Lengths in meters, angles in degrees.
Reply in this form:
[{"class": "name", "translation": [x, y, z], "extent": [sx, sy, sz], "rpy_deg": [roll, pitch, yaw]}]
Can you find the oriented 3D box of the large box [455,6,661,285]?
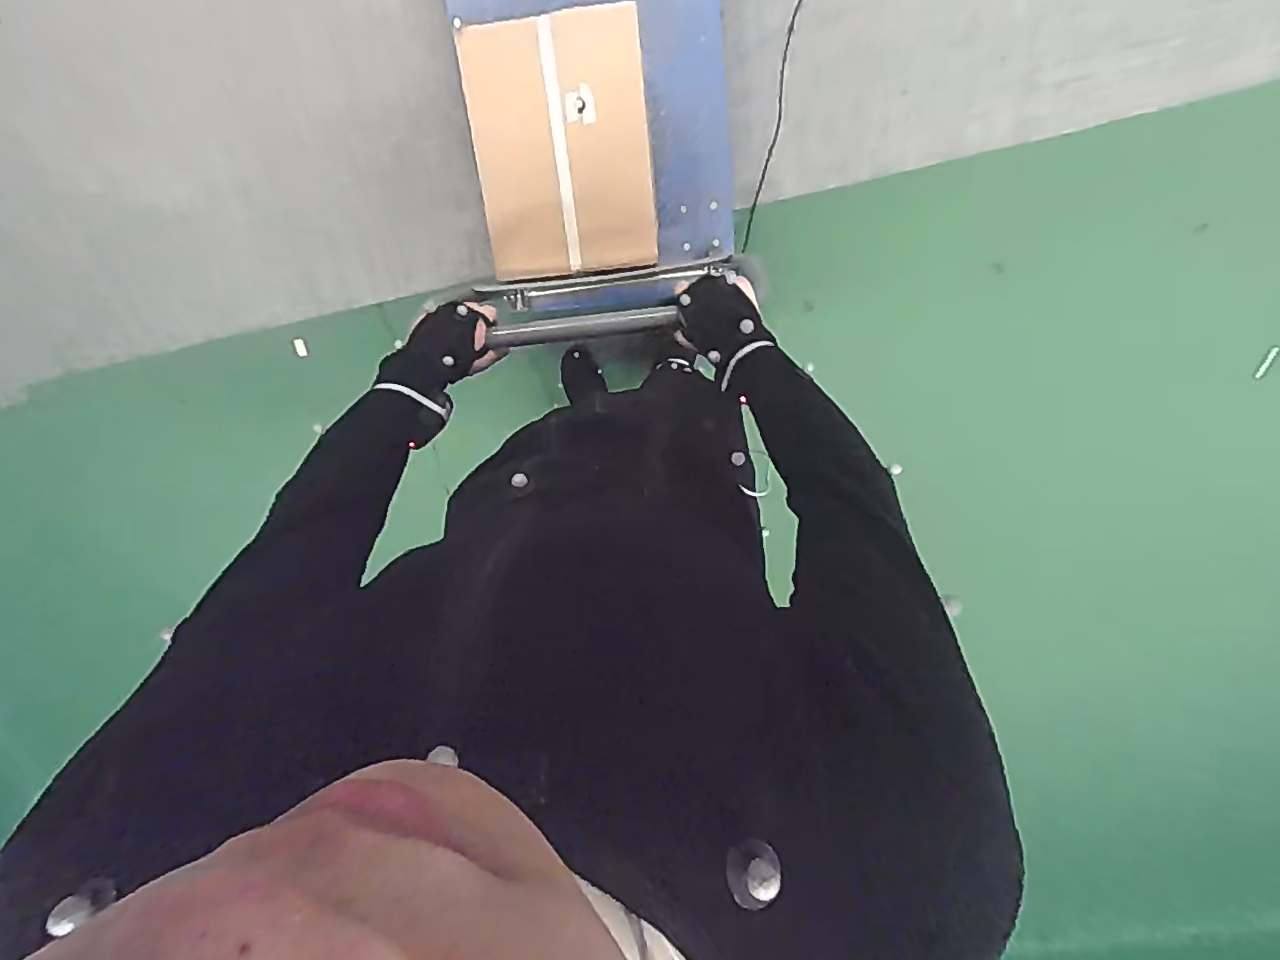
[{"class": "large box", "translation": [-0.132, -0.630, 1.107], "extent": [0.320, 0.320, 0.408], "rpy_deg": [-5, 109, 4]}]
